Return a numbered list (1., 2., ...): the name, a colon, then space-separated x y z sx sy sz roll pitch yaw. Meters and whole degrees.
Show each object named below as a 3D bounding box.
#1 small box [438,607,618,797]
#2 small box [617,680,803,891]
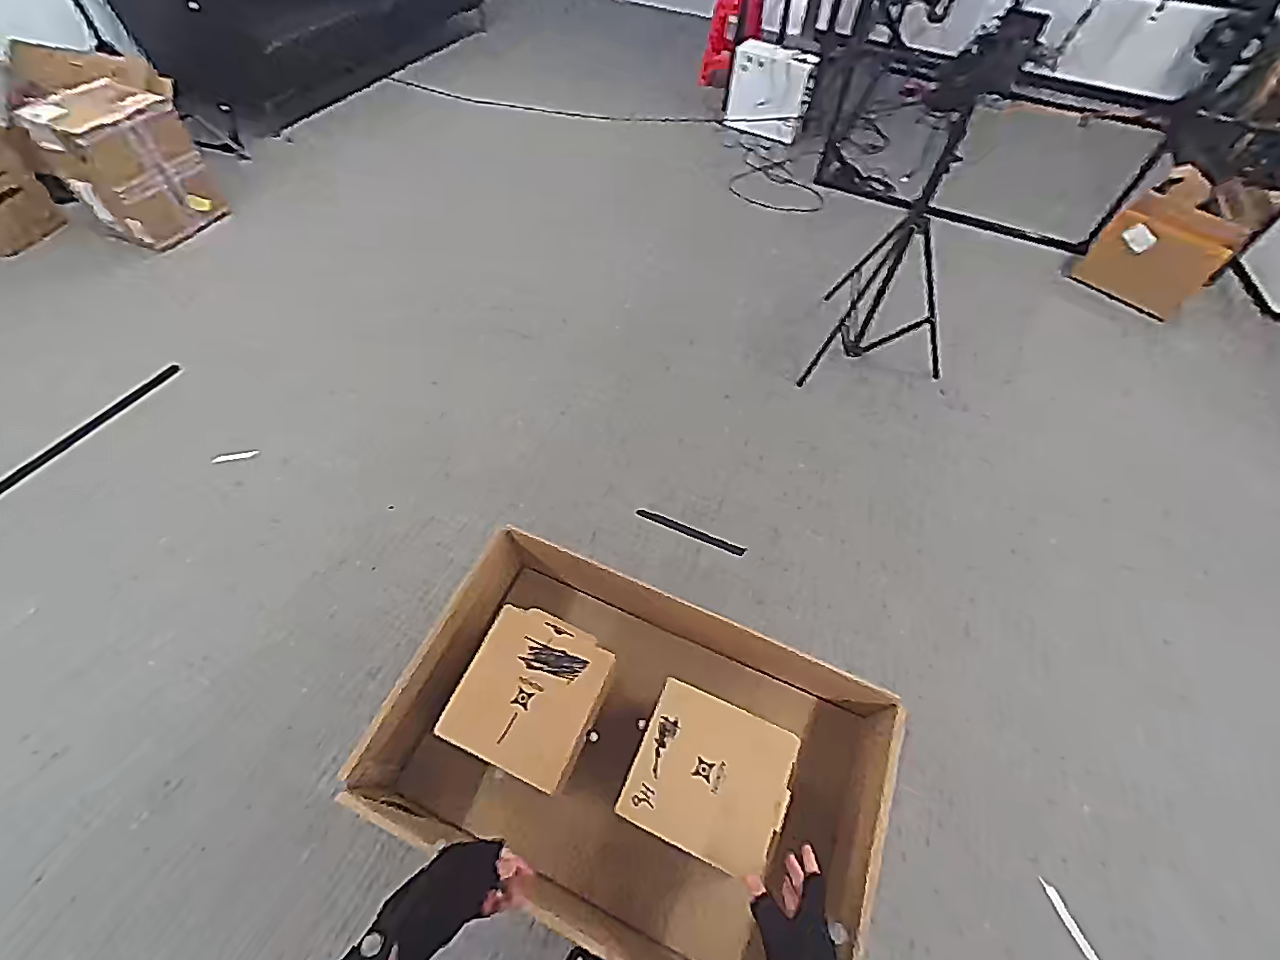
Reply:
1. small box: -0.139 0.306 0.743 0.168 0.176 0.179 21 62 11
2. small box: 0.085 0.386 0.700 0.179 0.176 0.168 21 61 13
